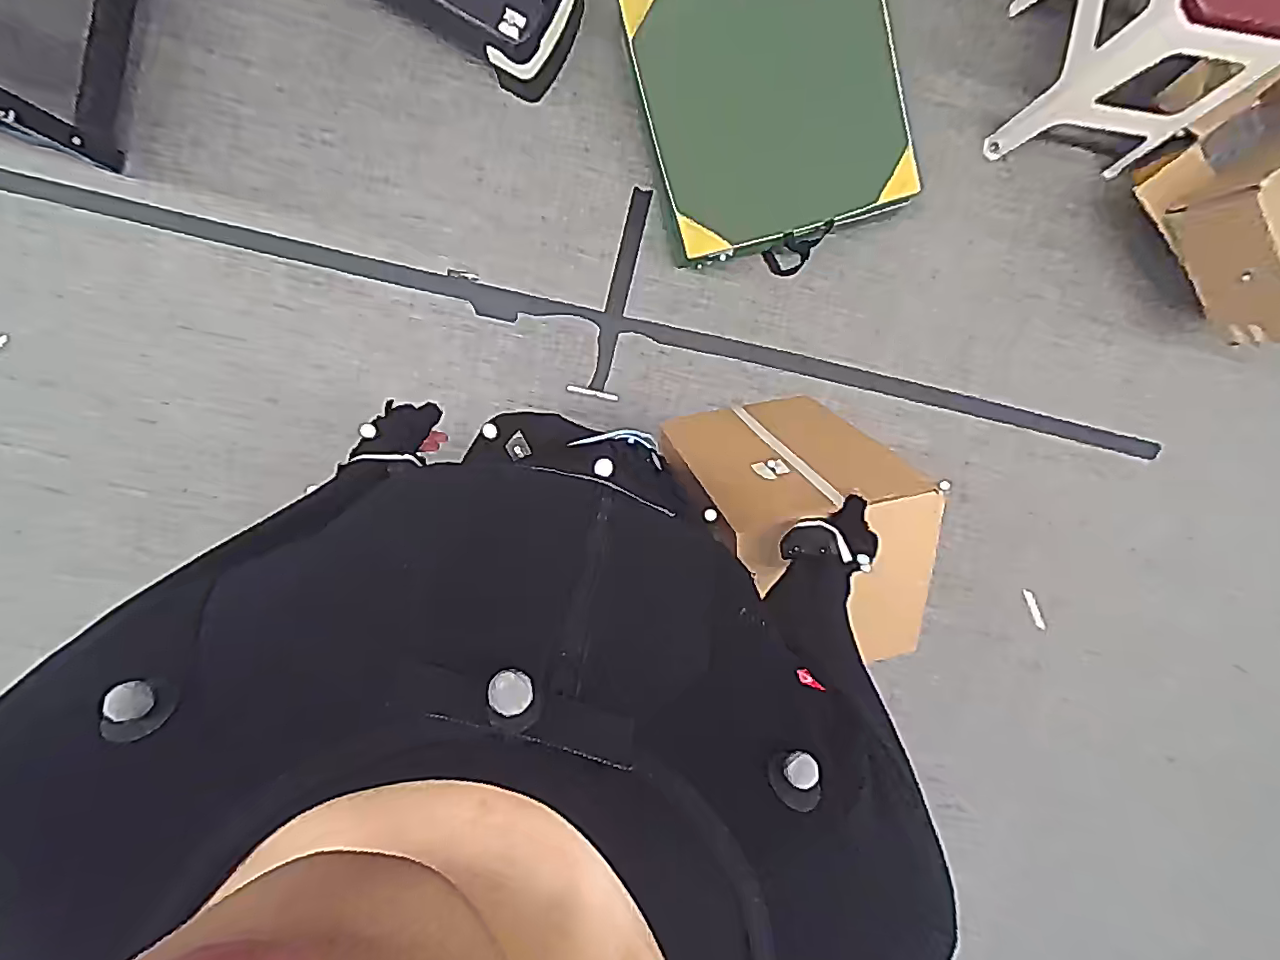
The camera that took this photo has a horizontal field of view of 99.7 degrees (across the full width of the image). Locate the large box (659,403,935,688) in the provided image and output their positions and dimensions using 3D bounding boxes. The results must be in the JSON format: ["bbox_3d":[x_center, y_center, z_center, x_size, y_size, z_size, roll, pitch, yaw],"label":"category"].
[{"bbox_3d":[0.240,0.091,0.985,0.320,0.408,0.320,-11,120,-8],"label":"large box"}]
